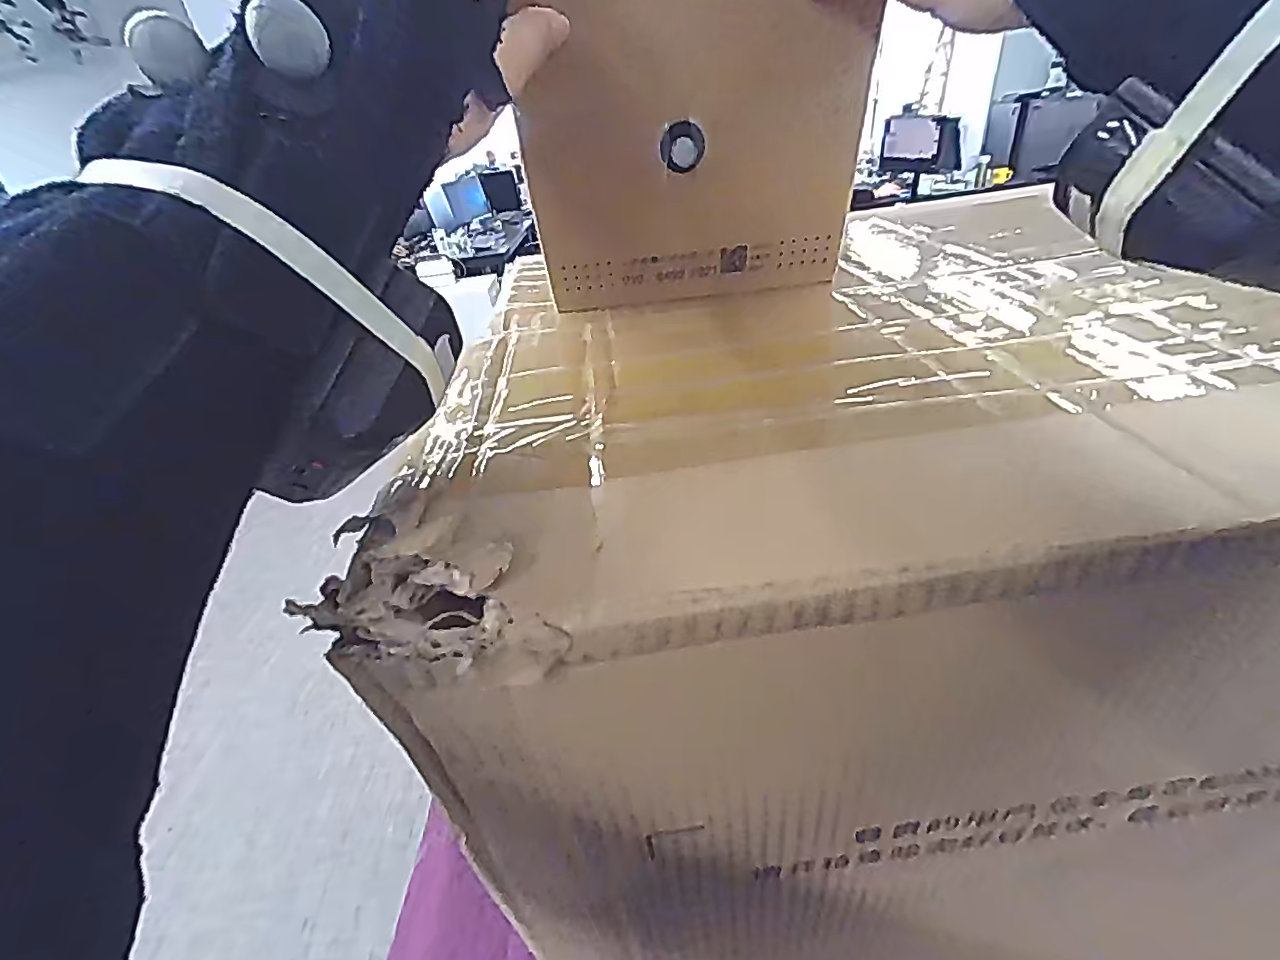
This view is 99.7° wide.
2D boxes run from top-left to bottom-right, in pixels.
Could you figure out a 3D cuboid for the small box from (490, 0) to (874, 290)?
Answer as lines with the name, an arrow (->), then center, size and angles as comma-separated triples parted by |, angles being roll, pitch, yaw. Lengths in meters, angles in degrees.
small box -> 0.022, -0.224, 0.314 | 0.168, 0.176, 0.179 | -6, 47, 1
